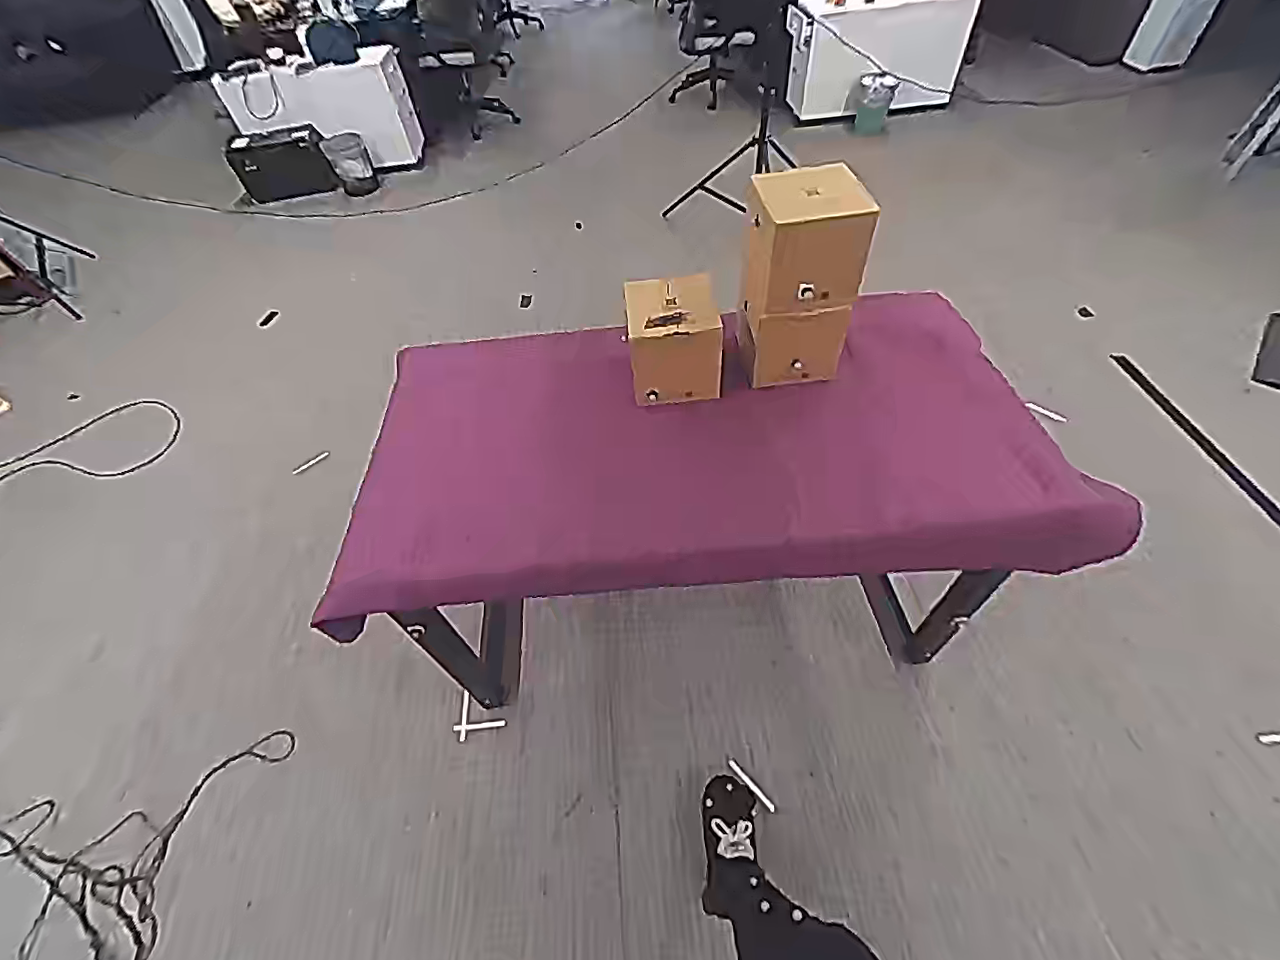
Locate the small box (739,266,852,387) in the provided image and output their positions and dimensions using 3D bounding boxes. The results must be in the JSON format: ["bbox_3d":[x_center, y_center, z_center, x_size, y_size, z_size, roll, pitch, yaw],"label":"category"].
[{"bbox_3d":[0.292,-0.306,1.061,0.168,0.176,0.179,-6,52,1],"label":"small box"}]

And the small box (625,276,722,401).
[{"bbox_3d":[0.064,-0.267,1.051,0.168,0.176,0.179,-6,51,0],"label":"small box"}]

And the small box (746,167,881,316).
[{"bbox_3d":[0.286,-0.411,0.937,0.168,0.176,0.179,-8,53,0],"label":"small box"}]
